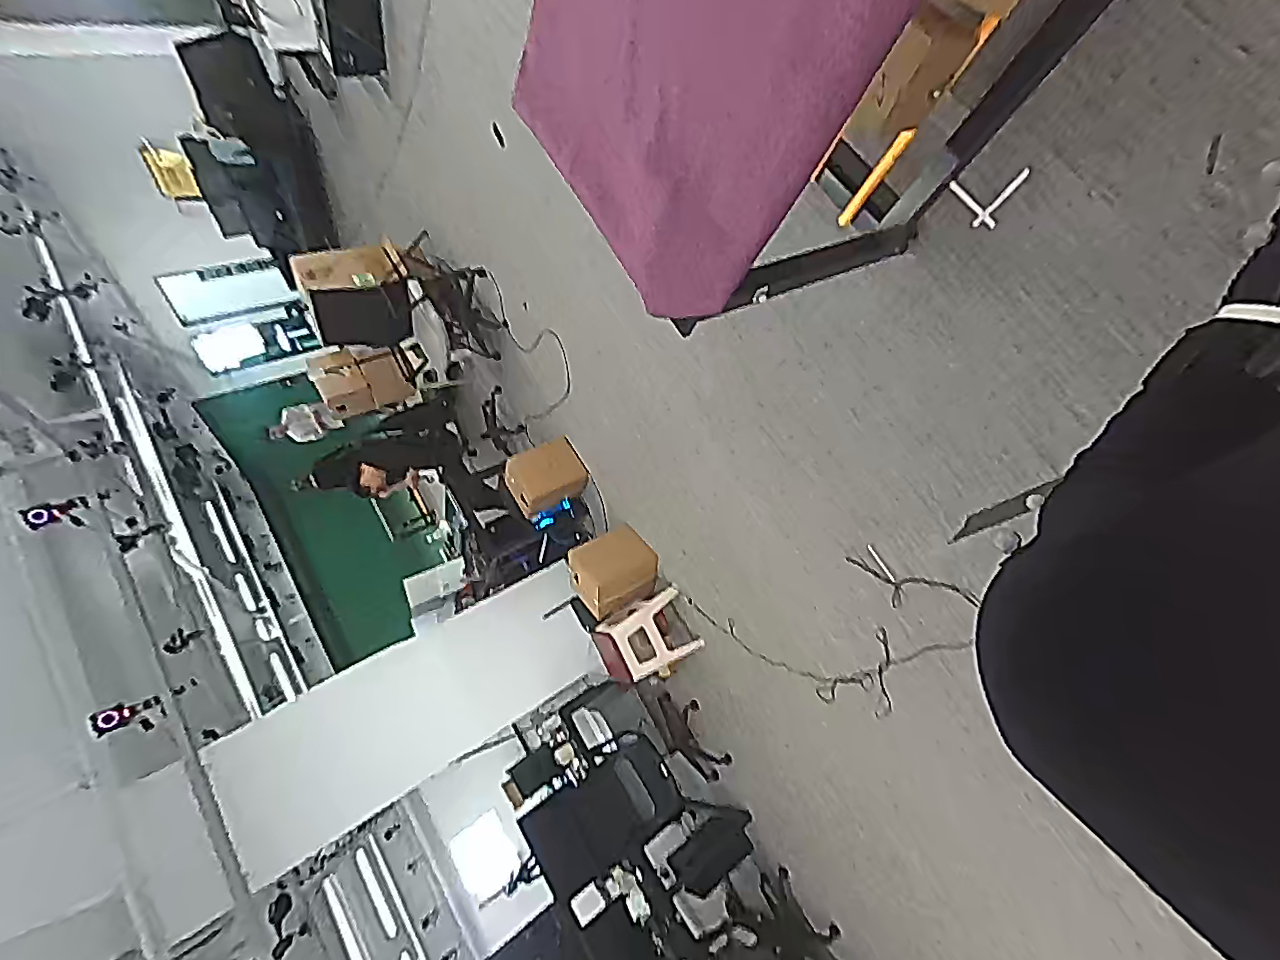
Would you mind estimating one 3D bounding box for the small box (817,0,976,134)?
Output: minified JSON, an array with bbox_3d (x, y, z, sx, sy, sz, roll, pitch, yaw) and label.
[{"bbox_3d":[0.485,-0.799,1.031,0.179,0.176,0.168,54,151,15],"label":"small box"}]
